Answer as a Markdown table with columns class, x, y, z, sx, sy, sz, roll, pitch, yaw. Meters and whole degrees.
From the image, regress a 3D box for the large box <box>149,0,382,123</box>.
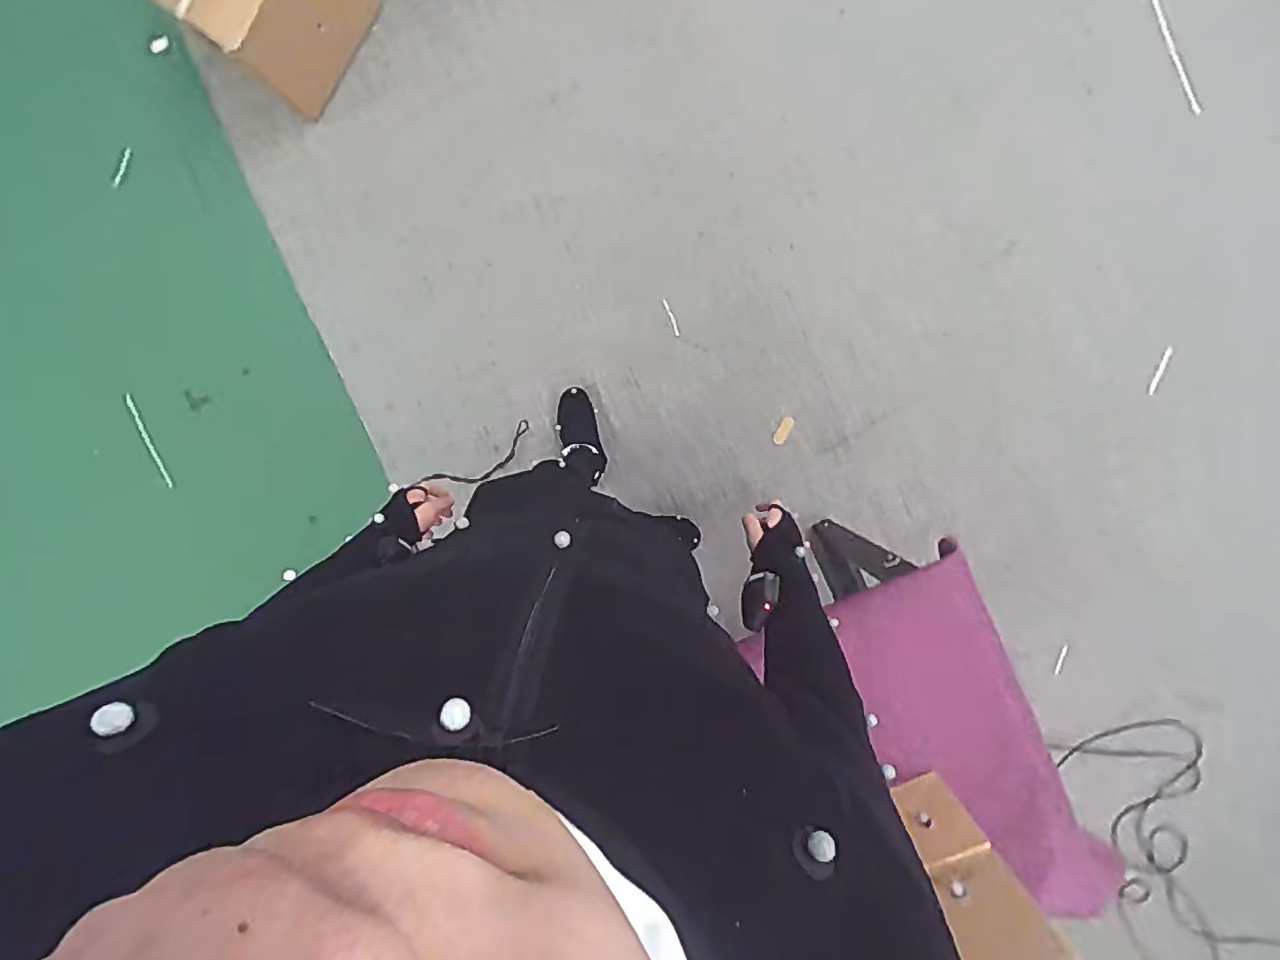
| class | x | y | z | sx | sy | sz | roll | pitch | yaw |
| --- | --- | --- | --- | --- | --- | --- | --- | --- | --- |
| large box | -0.968 | -1.276 | 1.419 | 0.320 | 0.320 | 0.408 | 34 | 96 | 1 |

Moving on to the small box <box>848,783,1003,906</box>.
| class | x | y | z | sx | sy | sz | roll | pitch | yaw |
| --- | --- | --- | --- | --- | --- | --- | --- | --- | --- |
| small box | 0.456 | 0.614 | 0.848 | 0.168 | 0.176 | 0.179 | -26 | 94 | 4 |

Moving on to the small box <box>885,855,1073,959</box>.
| class | x | y | z | sx | sy | sz | roll | pitch | yaw |
| --- | --- | --- | --- | --- | --- | --- | --- | --- | --- |
| small box | 0.444 | 0.633 | 0.685 | 0.168 | 0.176 | 0.179 | -21 | 93 | 4 |
